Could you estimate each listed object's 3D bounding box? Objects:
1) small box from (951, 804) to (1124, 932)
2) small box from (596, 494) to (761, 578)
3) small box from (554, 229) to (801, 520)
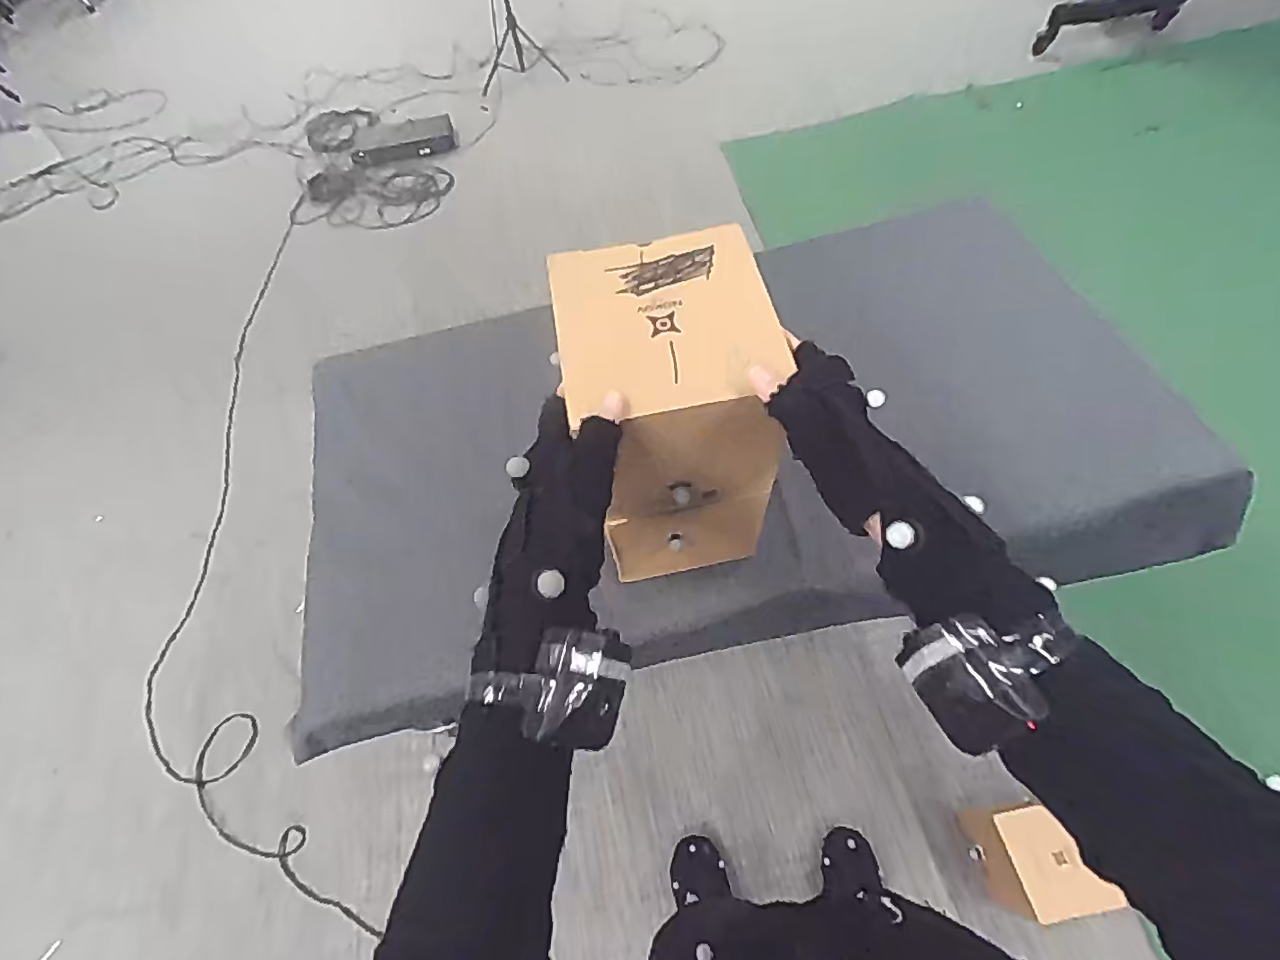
[{"bbox_3d":[0.740,0.727,1.031,0.179,0.176,0.168,-12,59,0],"label":"small box"},{"bbox_3d":[0.038,0.006,0.664,0.179,0.176,0.168,-11,59,-1],"label":"small box"},{"bbox_3d":[0.024,-0.084,0.479,0.168,0.176,0.179,-9,62,0],"label":"small box"}]
